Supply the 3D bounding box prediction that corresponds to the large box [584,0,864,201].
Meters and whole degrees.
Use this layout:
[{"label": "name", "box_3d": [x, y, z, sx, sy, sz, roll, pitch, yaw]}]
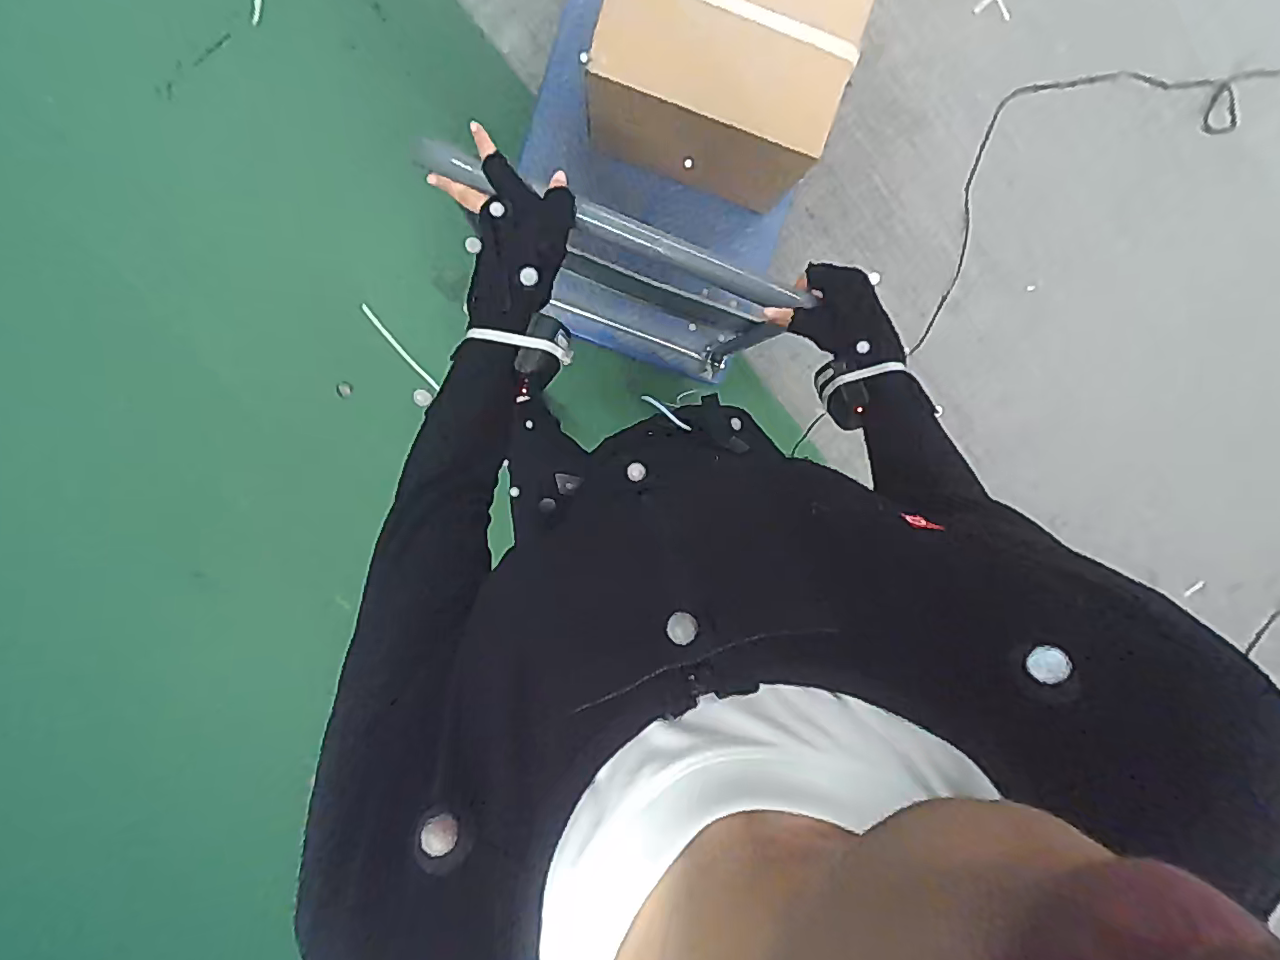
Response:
[{"label": "large box", "box_3d": [0.136, -0.769, 0.988, 0.408, 0.320, 0.320, 17, 99, -6]}]
